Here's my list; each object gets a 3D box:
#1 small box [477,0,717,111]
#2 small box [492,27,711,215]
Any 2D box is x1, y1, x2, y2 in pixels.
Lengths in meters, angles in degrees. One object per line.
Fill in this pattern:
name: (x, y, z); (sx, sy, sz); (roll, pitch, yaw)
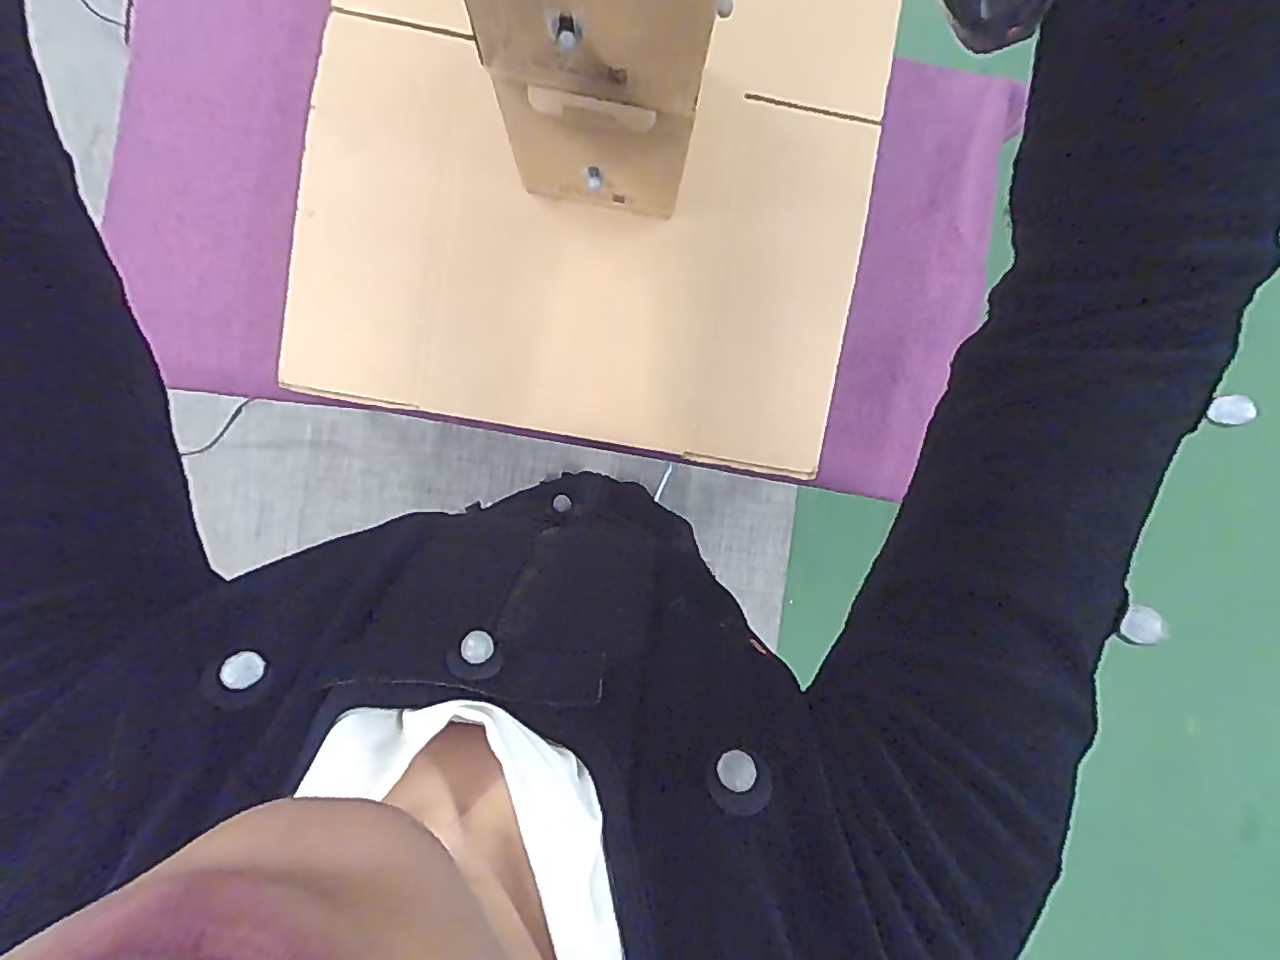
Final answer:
small box: (-0.019, -0.390, 0.345); (0.168, 0.176, 0.179); (10, 88, -4)
small box: (-0.027, -0.388, 0.508); (0.168, 0.176, 0.179); (10, 89, -3)
